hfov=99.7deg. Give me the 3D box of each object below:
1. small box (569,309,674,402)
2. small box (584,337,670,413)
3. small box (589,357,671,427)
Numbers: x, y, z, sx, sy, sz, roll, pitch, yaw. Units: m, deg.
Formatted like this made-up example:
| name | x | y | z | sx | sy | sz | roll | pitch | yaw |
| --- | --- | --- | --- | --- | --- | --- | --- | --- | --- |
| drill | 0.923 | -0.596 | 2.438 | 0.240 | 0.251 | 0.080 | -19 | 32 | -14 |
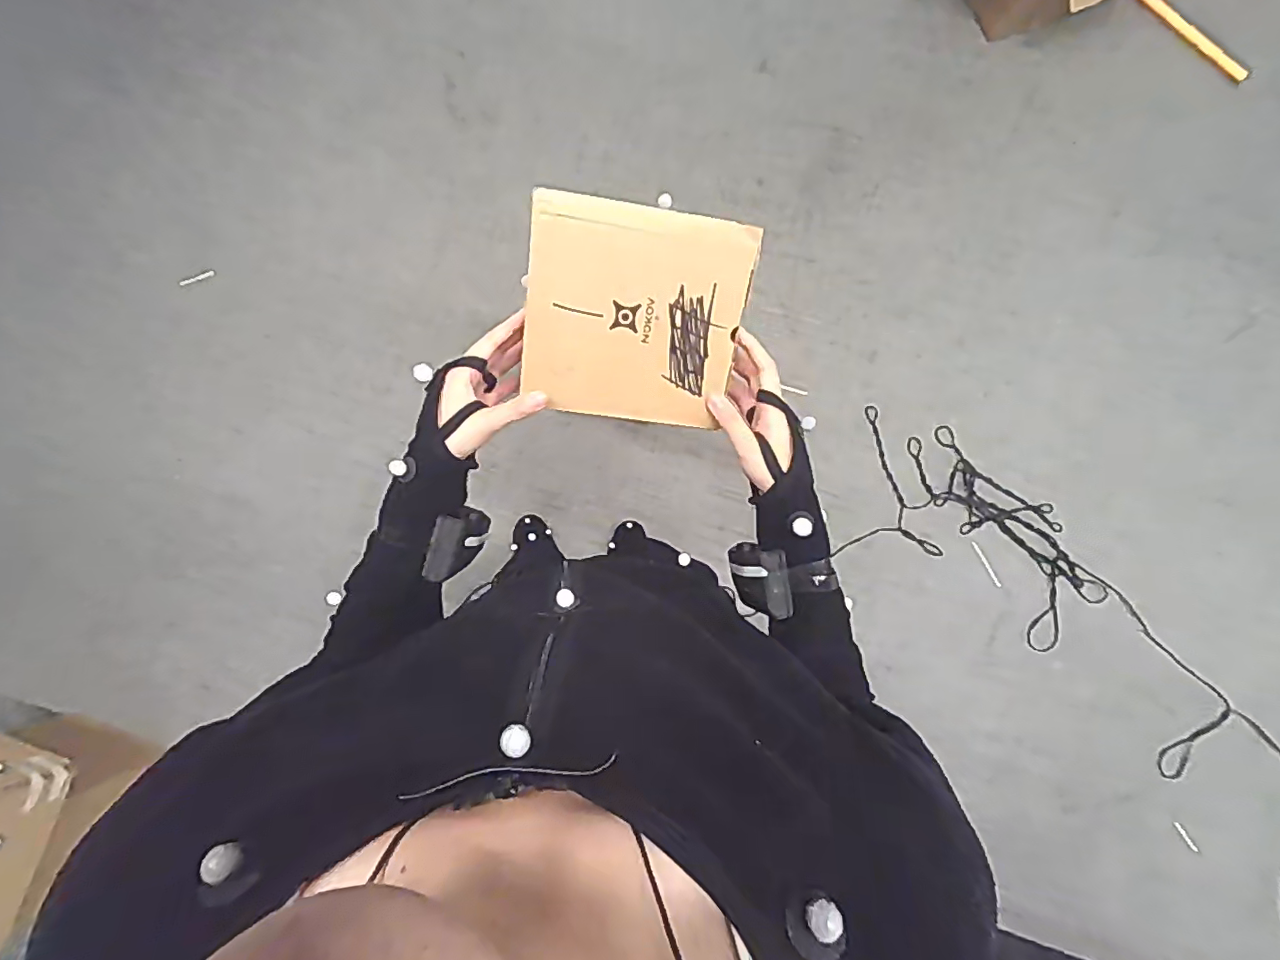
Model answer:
| name | x | y | z | sx | sy | sz | roll | pitch | yaw |
| --- | --- | --- | --- | --- | --- | --- | --- | --- | --- |
| small box | -0.036 | -0.274 | 1.143 | 0.179 | 0.176 | 0.168 | 15 | 85 | 1 |
| small box | -0.036 | -0.274 | 1.307 | 0.179 | 0.176 | 0.168 | 17 | 86 | 2 |
| small box | -0.026 | -0.254 | 1.469 | 0.179 | 0.176 | 0.168 | 17 | 85 | 1 |
